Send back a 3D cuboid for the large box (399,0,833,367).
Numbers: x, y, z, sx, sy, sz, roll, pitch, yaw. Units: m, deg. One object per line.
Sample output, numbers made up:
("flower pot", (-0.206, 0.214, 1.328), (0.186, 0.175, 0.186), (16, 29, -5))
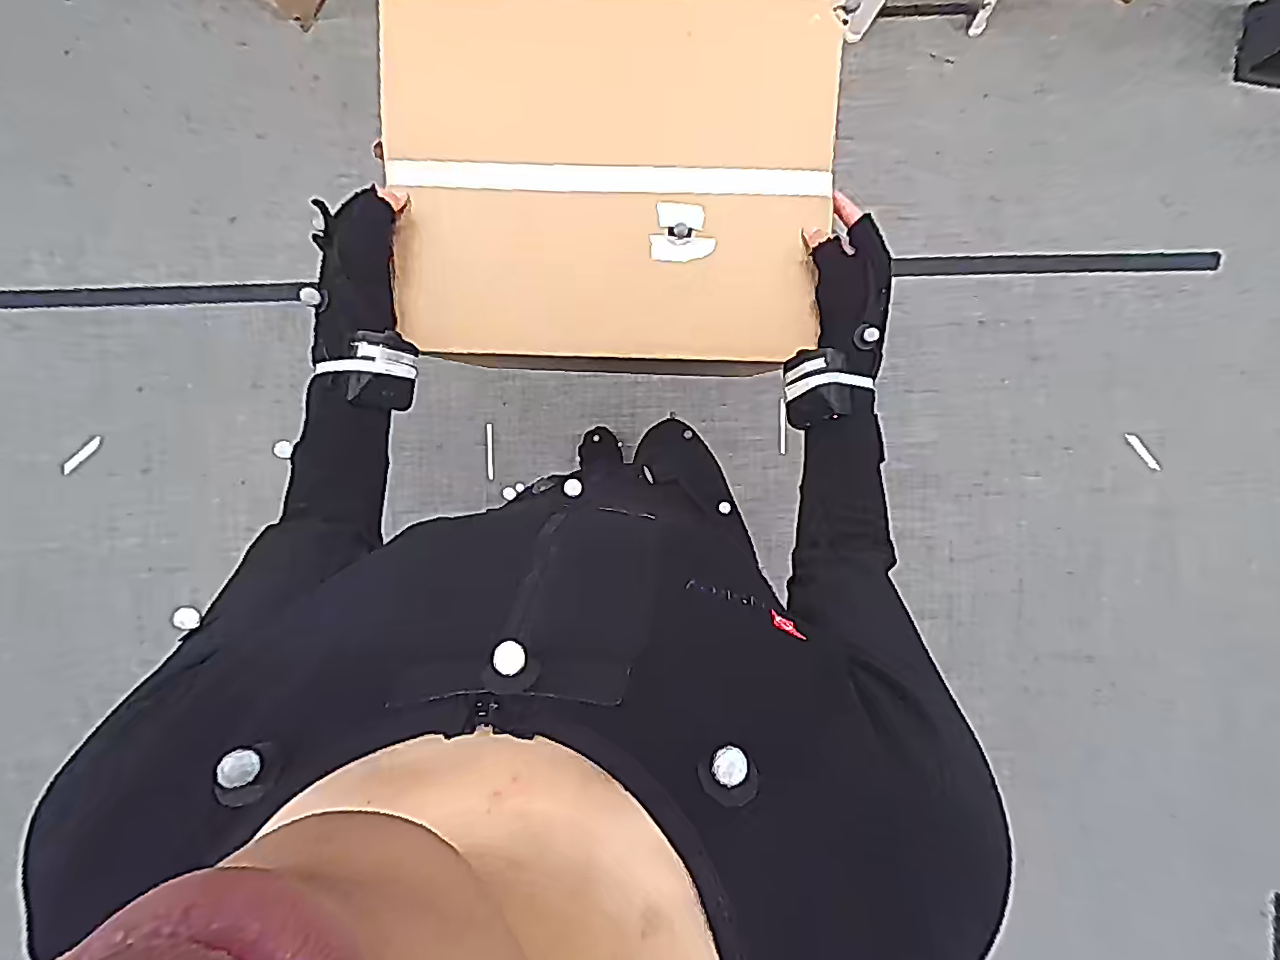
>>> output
("large box", (-0.026, -0.306, 0.659), (0.408, 0.320, 0.320), (1, 99, -1))
